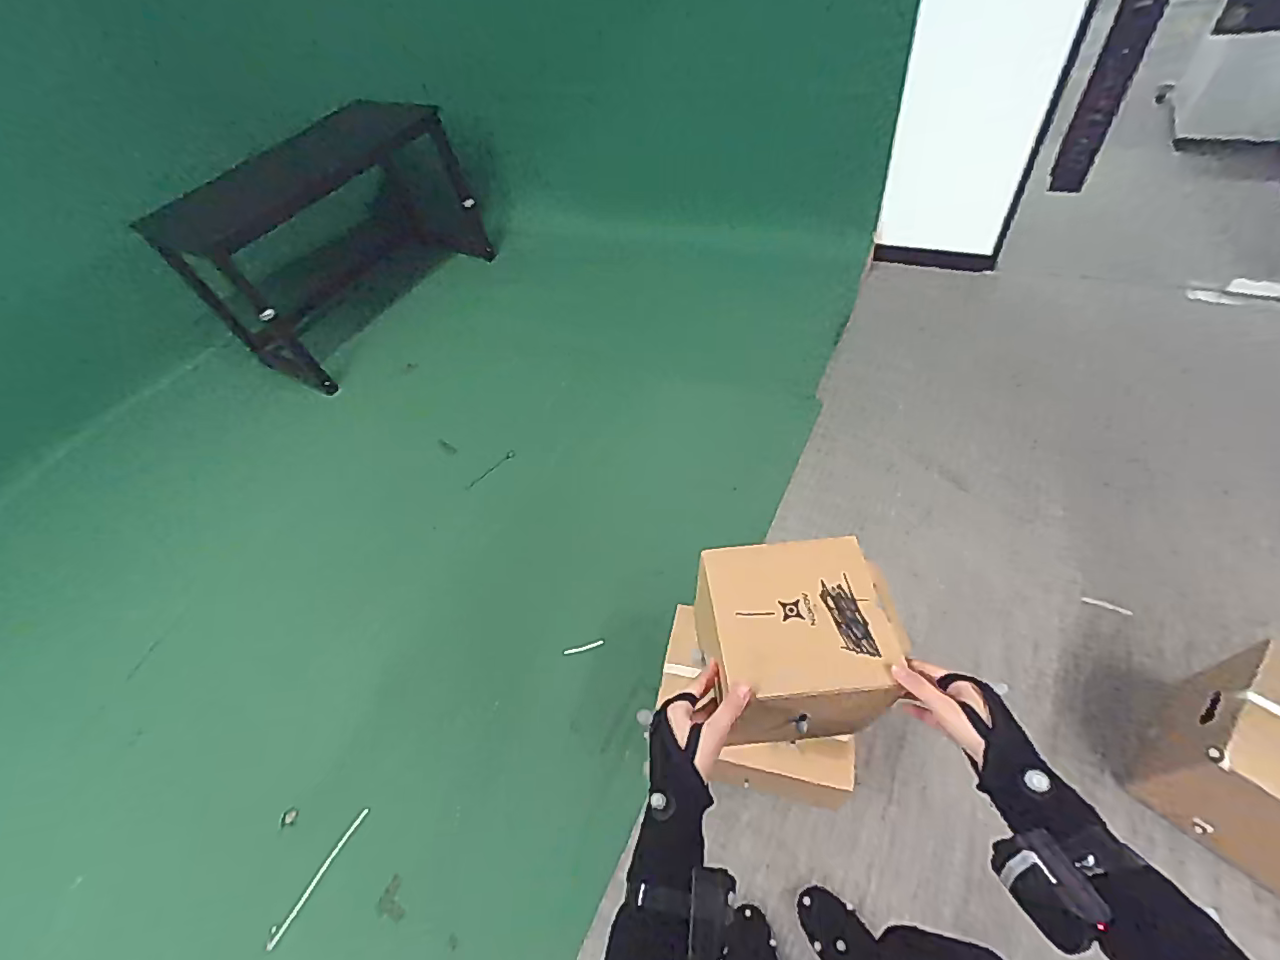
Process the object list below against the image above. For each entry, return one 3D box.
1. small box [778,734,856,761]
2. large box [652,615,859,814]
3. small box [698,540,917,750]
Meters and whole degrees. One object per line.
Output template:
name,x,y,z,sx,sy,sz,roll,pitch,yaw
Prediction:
small box,0.312,0.416,1.028,0.179,0.176,0.168,10,56,18
large box,0.277,0.542,1.254,0.408,0.320,0.320,5,53,17
small box,0.166,0.187,0.604,0.179,0.176,0.168,-6,49,-2
